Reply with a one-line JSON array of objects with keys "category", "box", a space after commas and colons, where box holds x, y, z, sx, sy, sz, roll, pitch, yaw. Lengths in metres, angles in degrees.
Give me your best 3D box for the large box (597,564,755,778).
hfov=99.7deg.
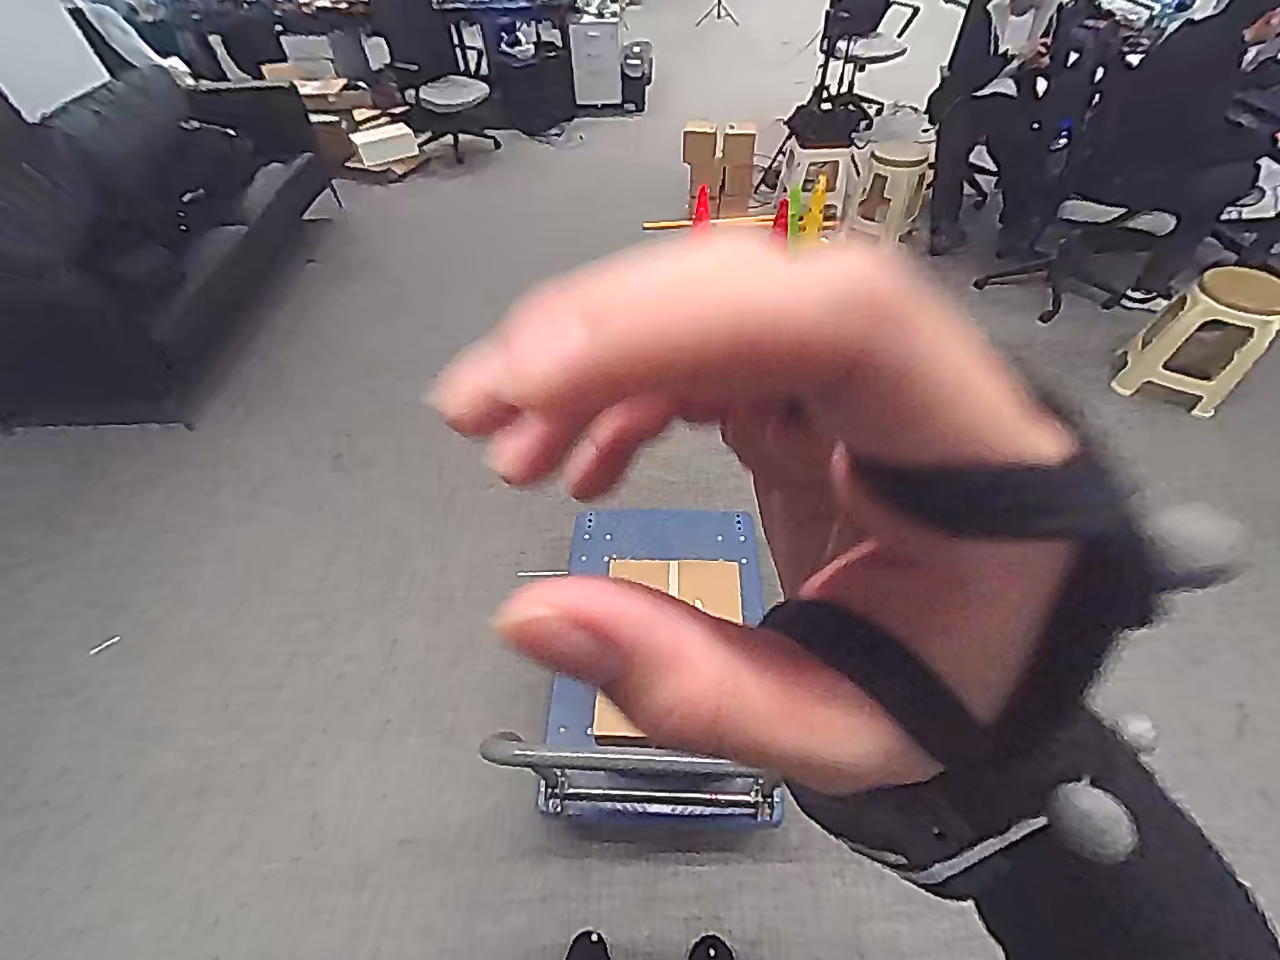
[{"category": "large box", "box": [0.083, 0.454, 1.285, 0.320, 0.320, 0.408, 1, 50, 3]}]
